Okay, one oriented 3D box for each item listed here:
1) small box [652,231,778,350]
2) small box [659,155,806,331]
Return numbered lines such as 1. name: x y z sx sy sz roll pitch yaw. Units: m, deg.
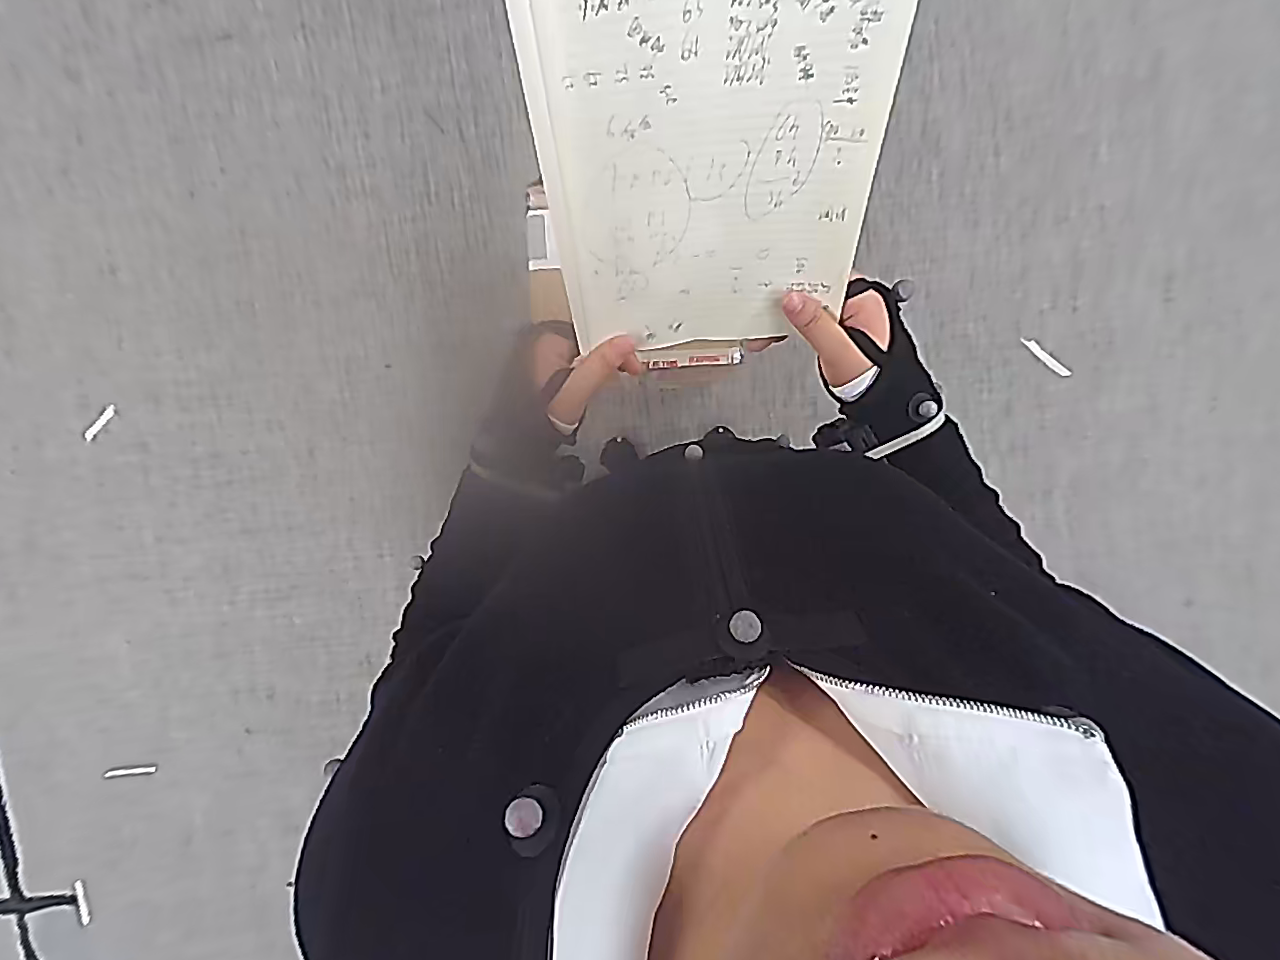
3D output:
1. small box: 0.120 -0.325 0.921 0.179 0.176 0.168 -8 95 0
2. small box: 0.120 -0.319 0.757 0.168 0.176 0.179 -6 95 -1
